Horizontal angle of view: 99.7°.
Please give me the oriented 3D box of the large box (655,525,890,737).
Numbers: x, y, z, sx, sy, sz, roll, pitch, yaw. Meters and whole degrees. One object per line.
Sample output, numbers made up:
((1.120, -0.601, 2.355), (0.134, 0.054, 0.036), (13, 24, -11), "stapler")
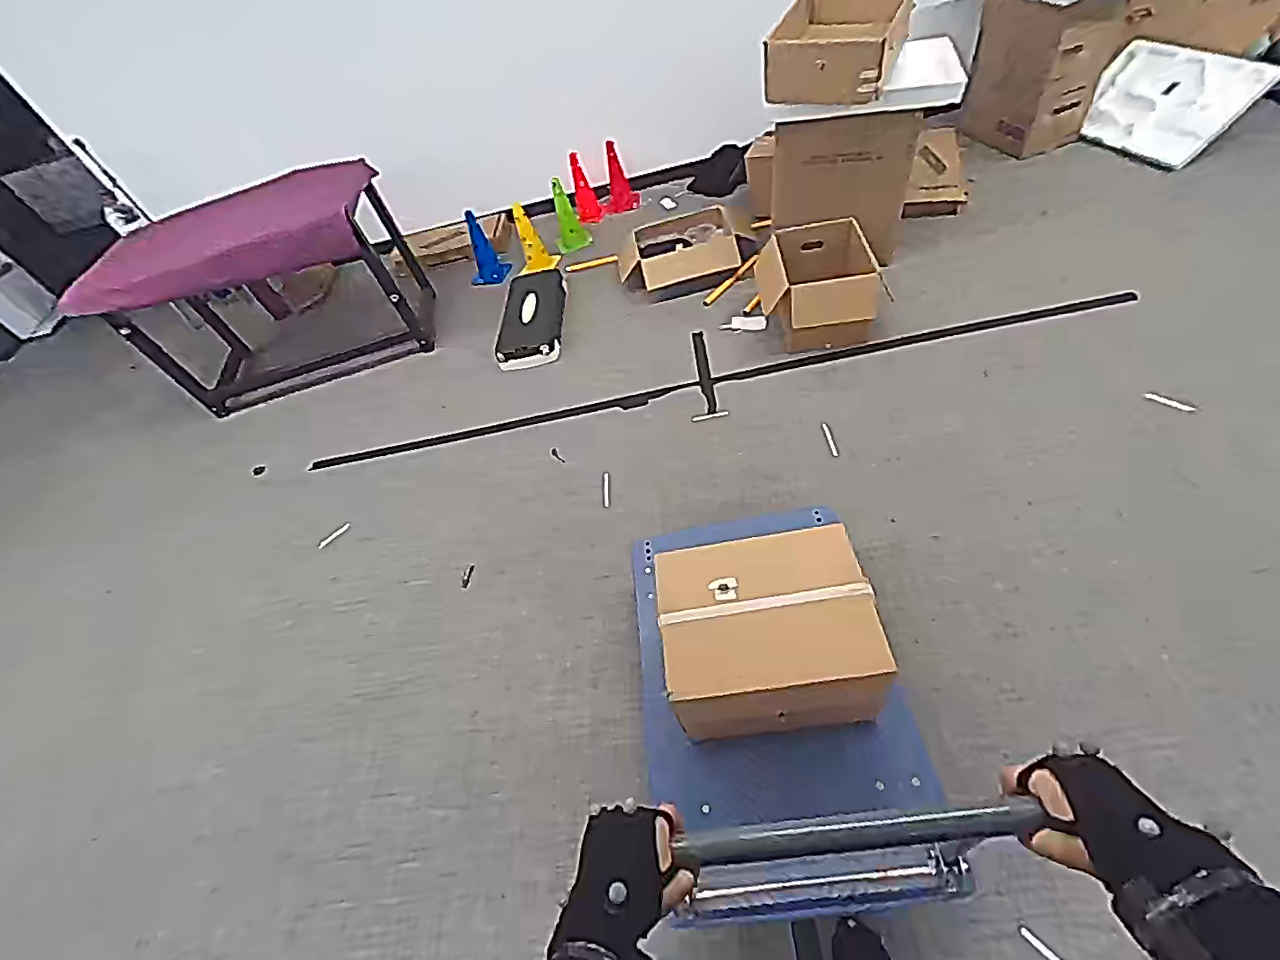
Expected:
((0.271, 0.341, 1.179), (0.408, 0.320, 0.320), (-11, 50, 7), "large box")
